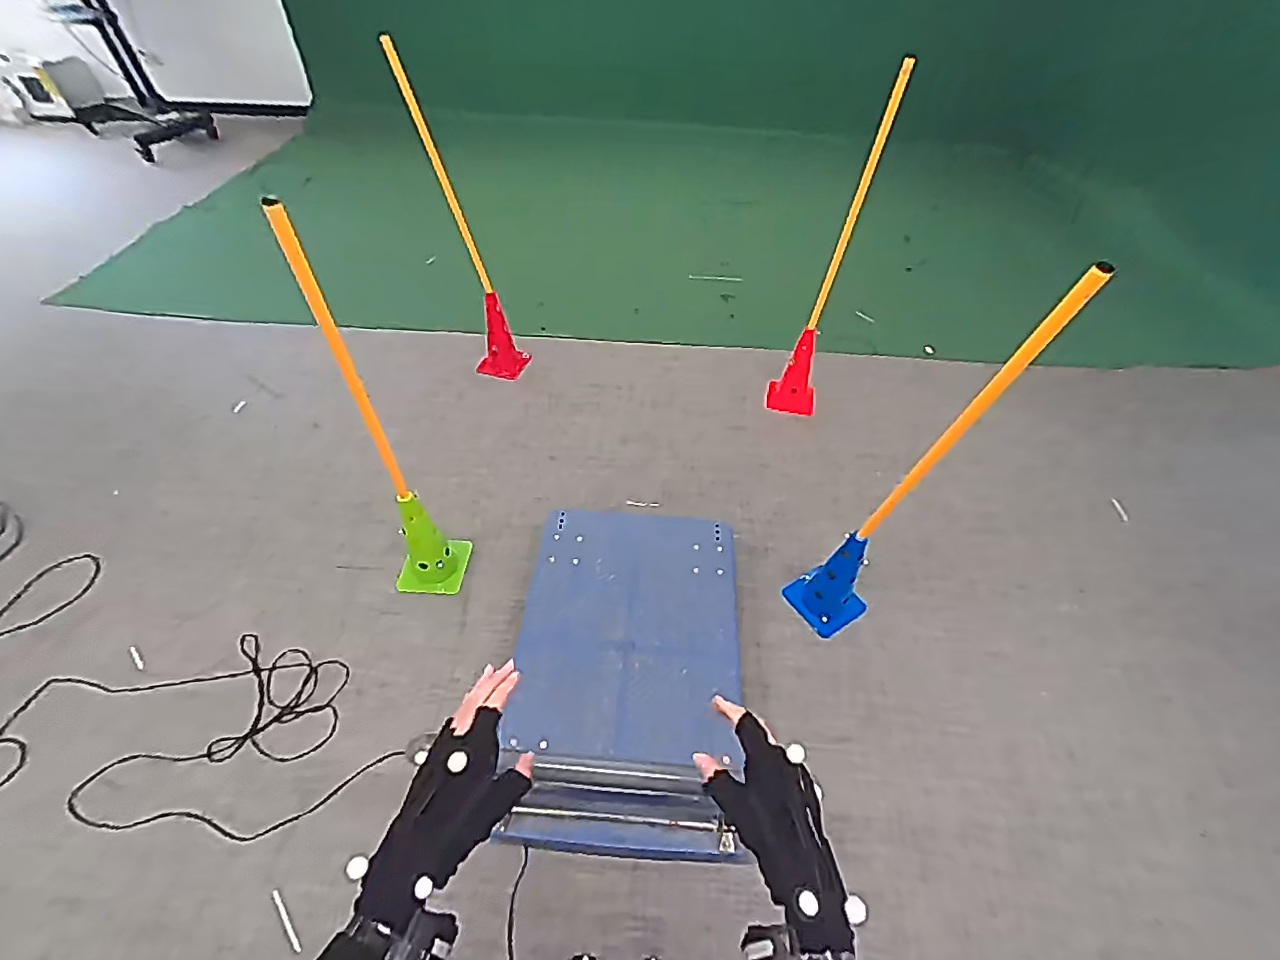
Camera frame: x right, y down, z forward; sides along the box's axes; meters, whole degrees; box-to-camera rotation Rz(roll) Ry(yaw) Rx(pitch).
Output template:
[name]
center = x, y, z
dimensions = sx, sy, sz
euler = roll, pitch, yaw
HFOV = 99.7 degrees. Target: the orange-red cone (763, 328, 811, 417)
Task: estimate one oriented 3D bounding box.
[orange-red cone]
center = 0.646, -0.462, 2.229
dimensions = 0.198, 0.360, 0.199
euler = 11, 50, 9
